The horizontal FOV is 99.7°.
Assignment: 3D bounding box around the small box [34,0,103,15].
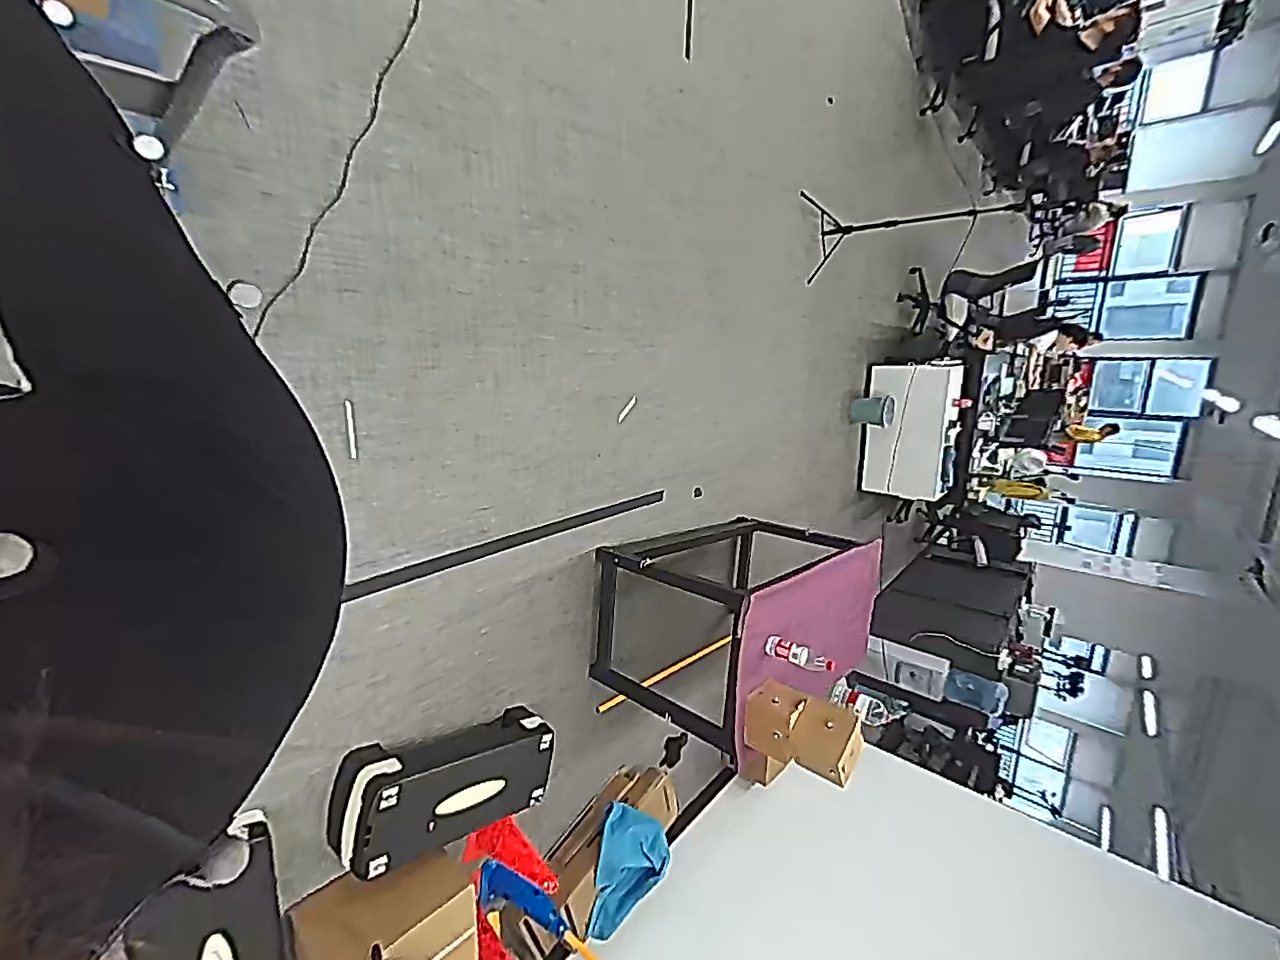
[{"bbox_3d":[-0.869,-0.791,0.741,0.179,0.176,0.168,-16,111,-46],"label":"small box"}]
